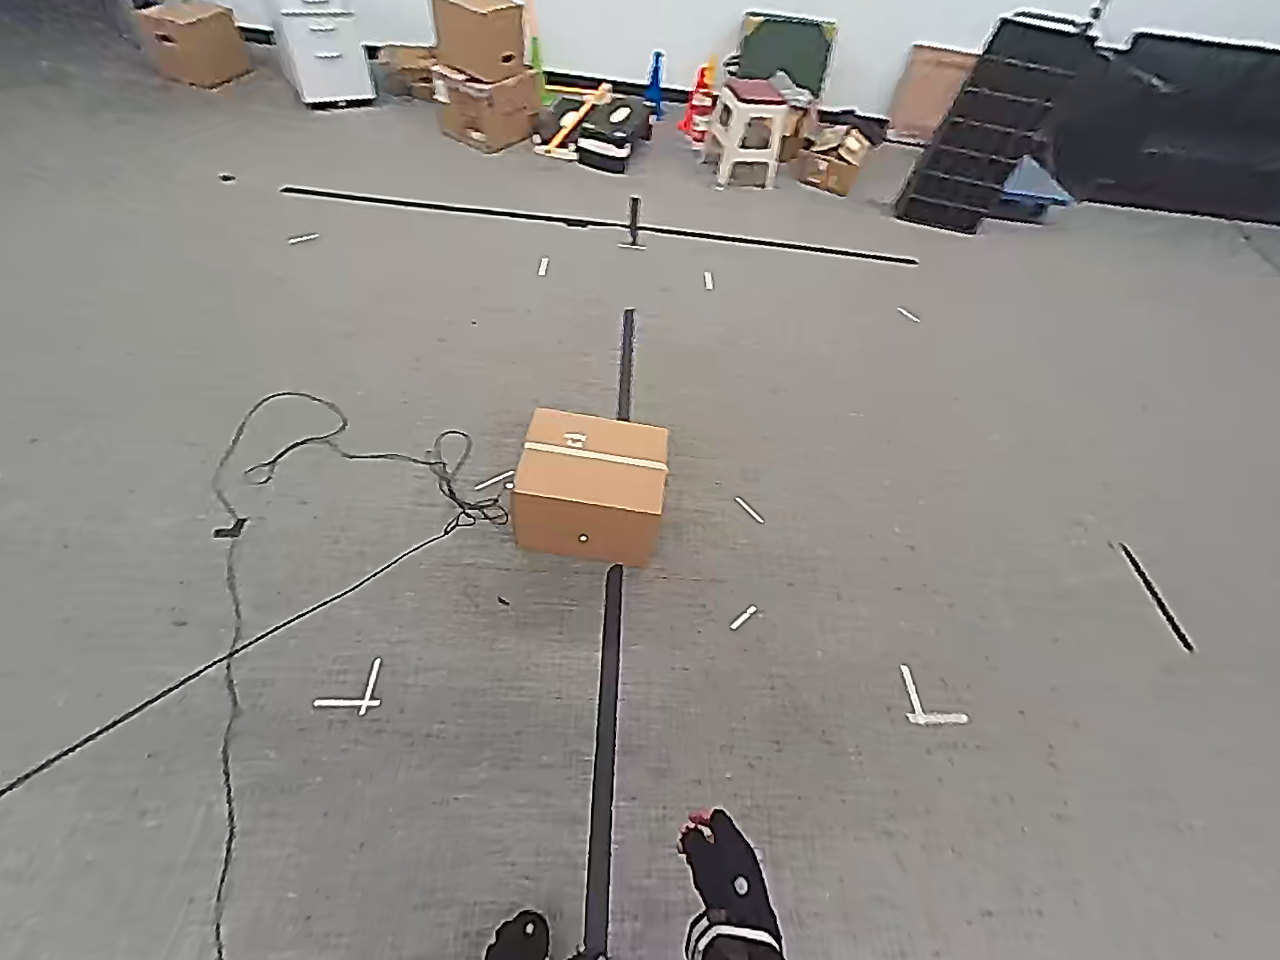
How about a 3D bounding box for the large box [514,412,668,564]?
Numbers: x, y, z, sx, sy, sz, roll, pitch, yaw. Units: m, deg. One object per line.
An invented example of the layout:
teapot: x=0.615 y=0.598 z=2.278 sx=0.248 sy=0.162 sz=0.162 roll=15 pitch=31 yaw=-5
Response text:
large box: x=-0.138 y=0.032 z=1.642 sx=0.408 sy=0.320 sz=0.320 roll=9 pitch=52 yaw=-2
